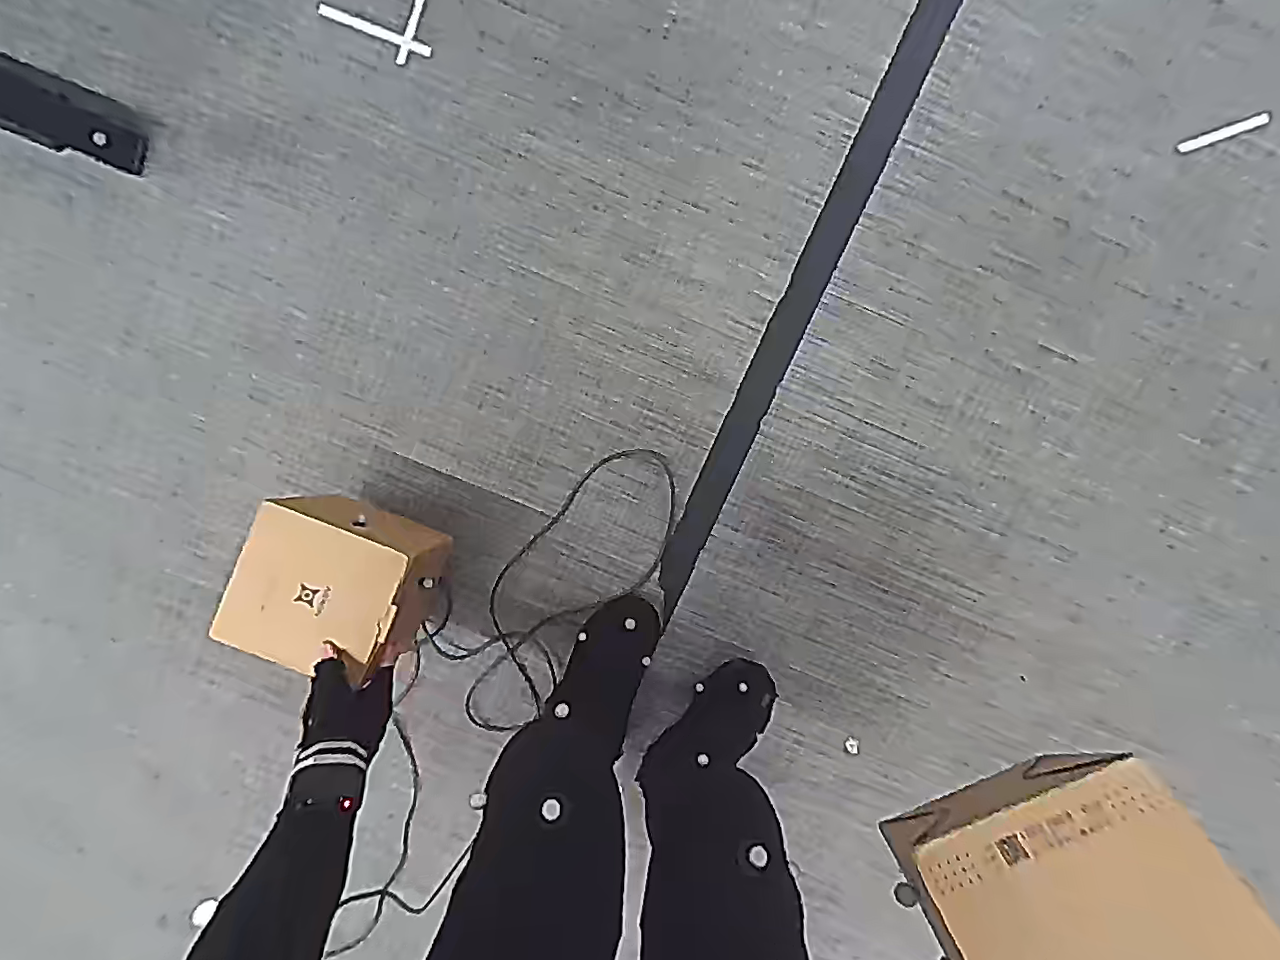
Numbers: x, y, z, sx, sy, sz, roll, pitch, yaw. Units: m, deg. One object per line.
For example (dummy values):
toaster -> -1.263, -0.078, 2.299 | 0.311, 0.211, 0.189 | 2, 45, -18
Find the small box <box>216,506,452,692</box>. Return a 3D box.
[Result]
small box -> -0.365, 0.134, 0.685 | 0.179, 0.176, 0.168 | 22, 87, -2
